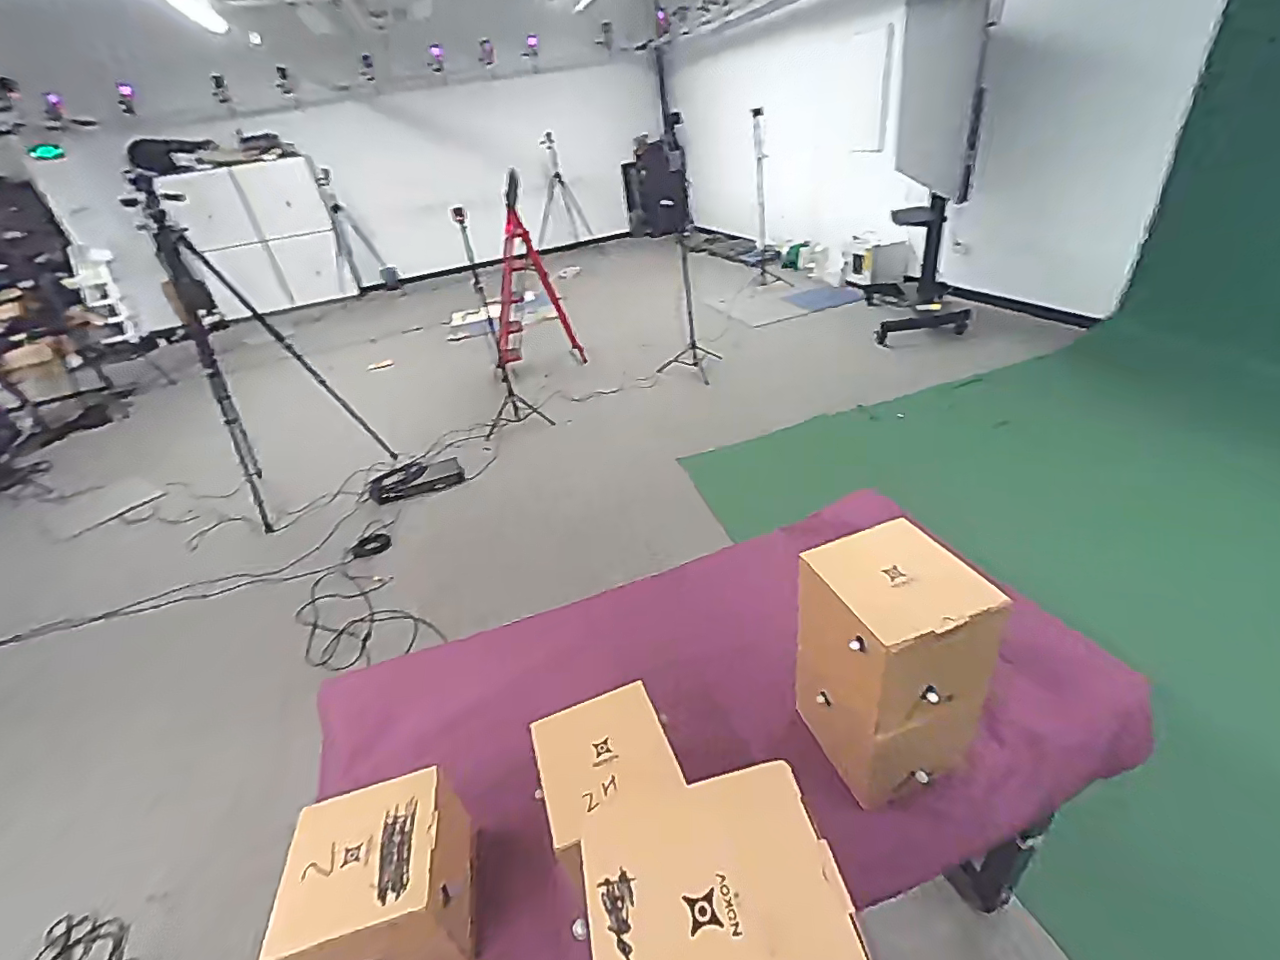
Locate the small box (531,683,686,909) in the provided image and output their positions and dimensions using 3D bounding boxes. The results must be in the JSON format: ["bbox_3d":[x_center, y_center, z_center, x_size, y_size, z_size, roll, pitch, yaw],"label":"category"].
[{"bbox_3d":[-0.037,0.419,0.729,0.168,0.176,0.179,-18,32,-13],"label":"small box"}]

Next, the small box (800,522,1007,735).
[{"bbox_3d":[0.321,0.187,0.701,0.168,0.176,0.179,-17,33,-12],"label":"small box"}]

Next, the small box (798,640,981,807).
[{"bbox_3d":[0.343,0.325,0.784,0.168,0.176,0.179,-17,33,-11],"label":"small box"}]

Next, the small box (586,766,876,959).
[{"bbox_3d":[0.064,0.356,0.411,0.179,0.176,0.168,-12,35,-5],"label":"small box"}]
